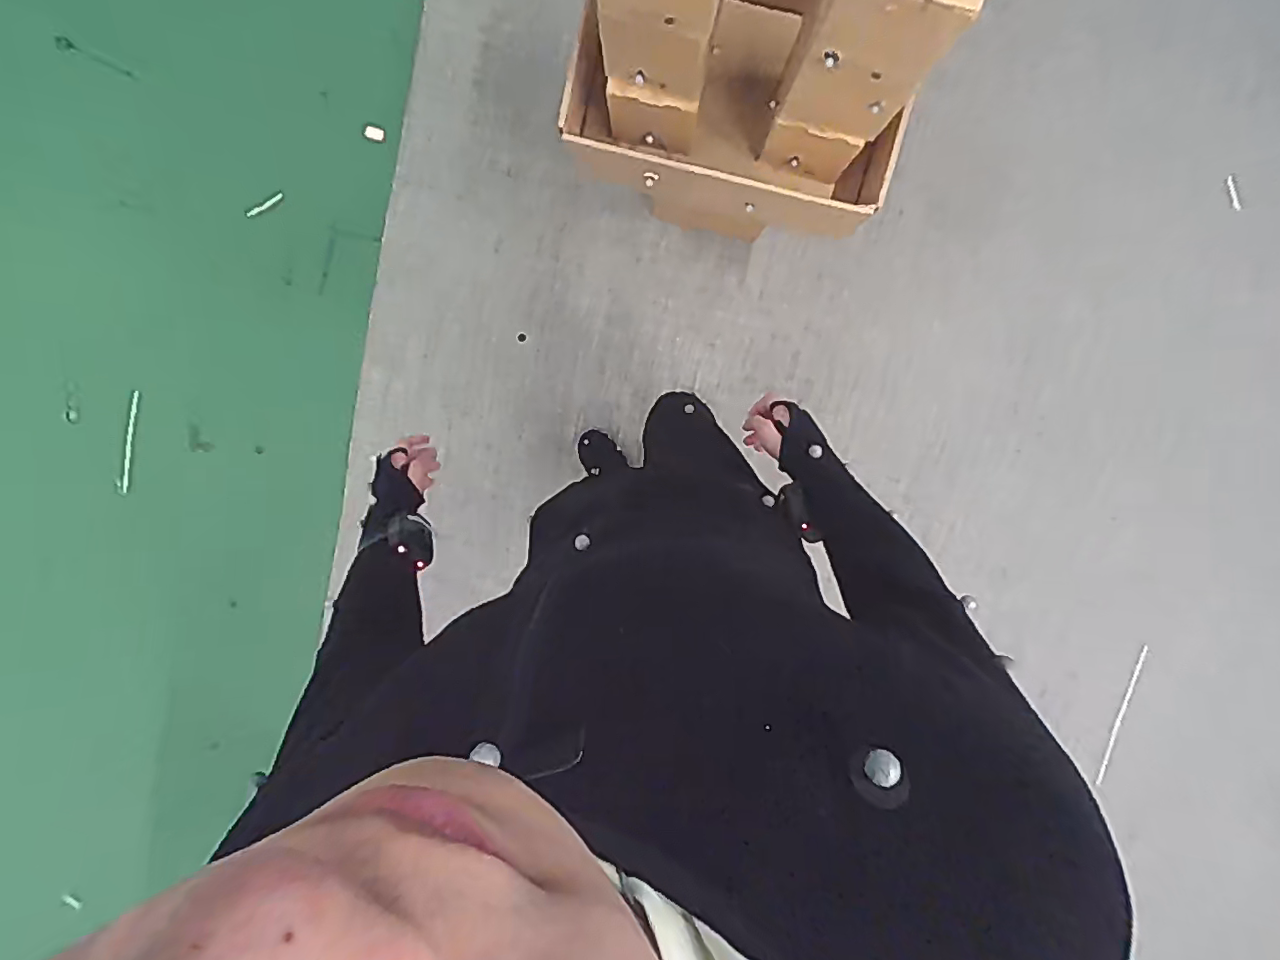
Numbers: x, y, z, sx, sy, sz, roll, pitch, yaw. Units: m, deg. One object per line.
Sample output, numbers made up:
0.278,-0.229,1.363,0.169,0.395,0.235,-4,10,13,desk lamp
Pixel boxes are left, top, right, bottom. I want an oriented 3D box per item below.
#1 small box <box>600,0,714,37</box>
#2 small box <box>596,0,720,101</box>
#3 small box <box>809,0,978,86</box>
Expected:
0.034,-0.730,0.690,0.168,0.176,0.179,12,96,0,small box
0.036,-0.753,0.852,0.168,0.176,0.179,16,97,-1,small box
0.335,-0.658,0.695,0.168,0.176,0.179,15,97,-3,small box
